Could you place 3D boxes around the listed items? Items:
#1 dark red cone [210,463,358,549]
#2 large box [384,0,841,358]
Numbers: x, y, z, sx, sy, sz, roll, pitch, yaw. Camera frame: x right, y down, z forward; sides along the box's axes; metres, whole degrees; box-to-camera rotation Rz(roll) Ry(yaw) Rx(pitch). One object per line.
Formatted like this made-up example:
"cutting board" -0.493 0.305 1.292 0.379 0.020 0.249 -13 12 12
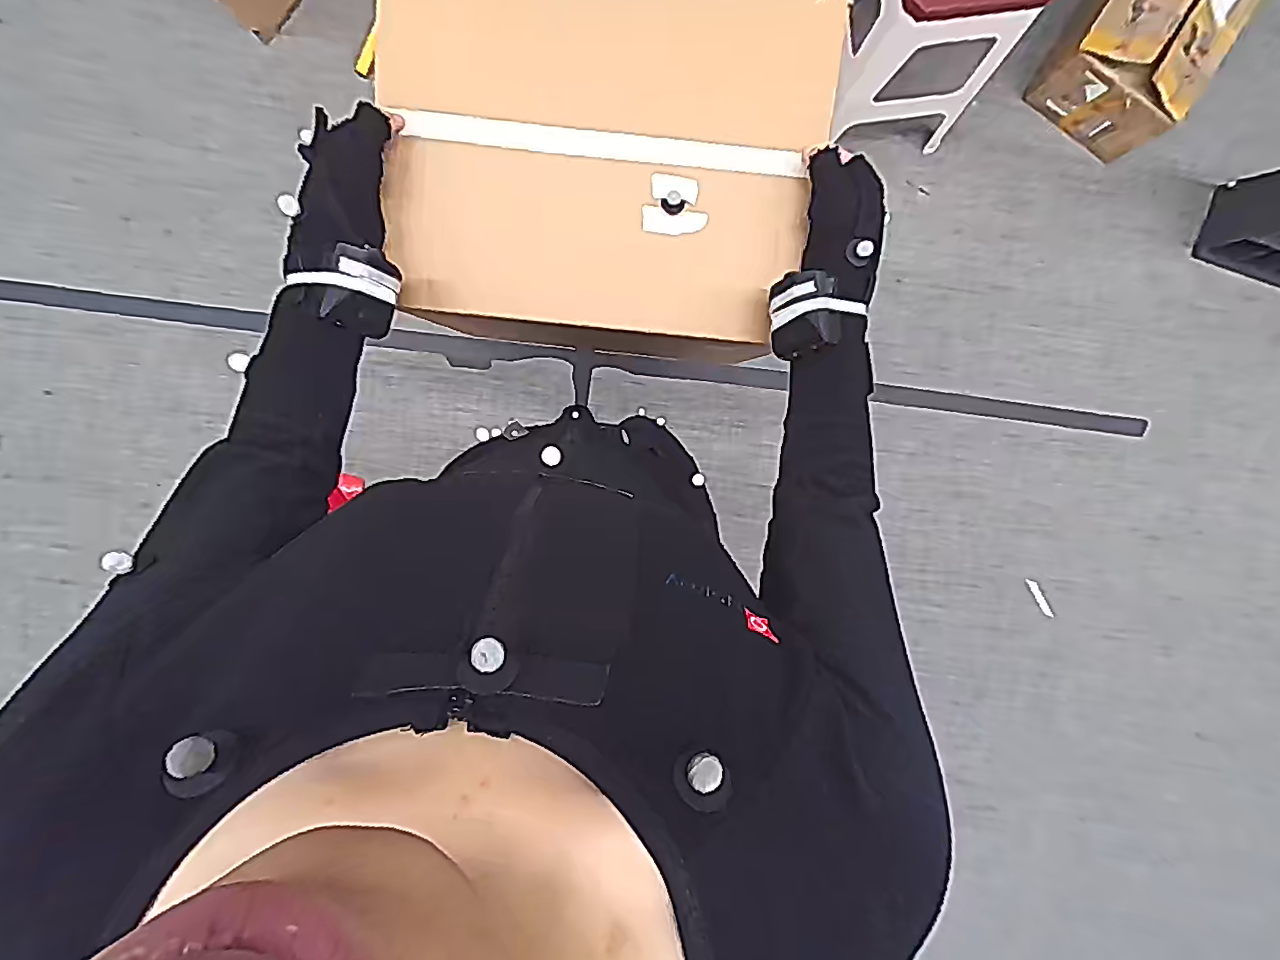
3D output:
"dark red cone" -0.830 0.081 1.239 0.201 0.394 0.202 13 95 -5
"large box" -0.036 -0.327 0.638 0.408 0.320 0.320 5 99 -3
